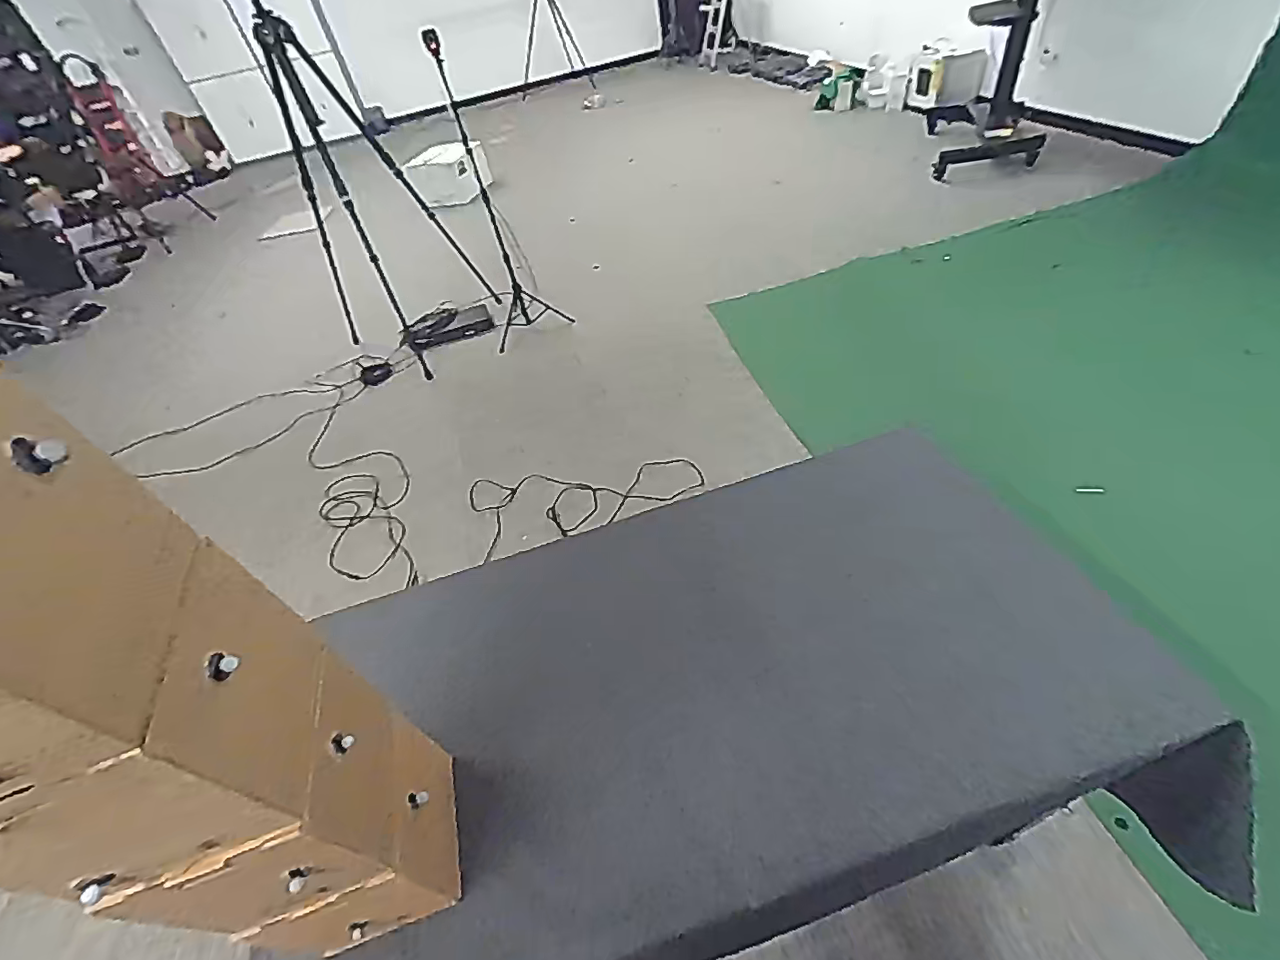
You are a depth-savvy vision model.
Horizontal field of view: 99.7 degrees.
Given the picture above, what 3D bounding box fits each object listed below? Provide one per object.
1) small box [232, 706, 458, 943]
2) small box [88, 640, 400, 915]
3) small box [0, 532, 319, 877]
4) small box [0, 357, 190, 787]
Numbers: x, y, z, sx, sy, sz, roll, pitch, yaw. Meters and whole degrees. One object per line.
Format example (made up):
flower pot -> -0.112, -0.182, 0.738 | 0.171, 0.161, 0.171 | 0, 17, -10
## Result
small box -> -0.330, 0.409, 0.643 | 0.168, 0.176, 0.179 | -19, 46, -6
small box -> -0.353, 0.294, 0.531 | 0.168, 0.176, 0.179 | -18, 45, -6
small box -> -0.380, 0.177, 0.419 | 0.168, 0.176, 0.179 | -18, 45, -8
small box -> -0.406, 0.064, 0.302 | 0.168, 0.176, 0.179 | -20, 46, -8
